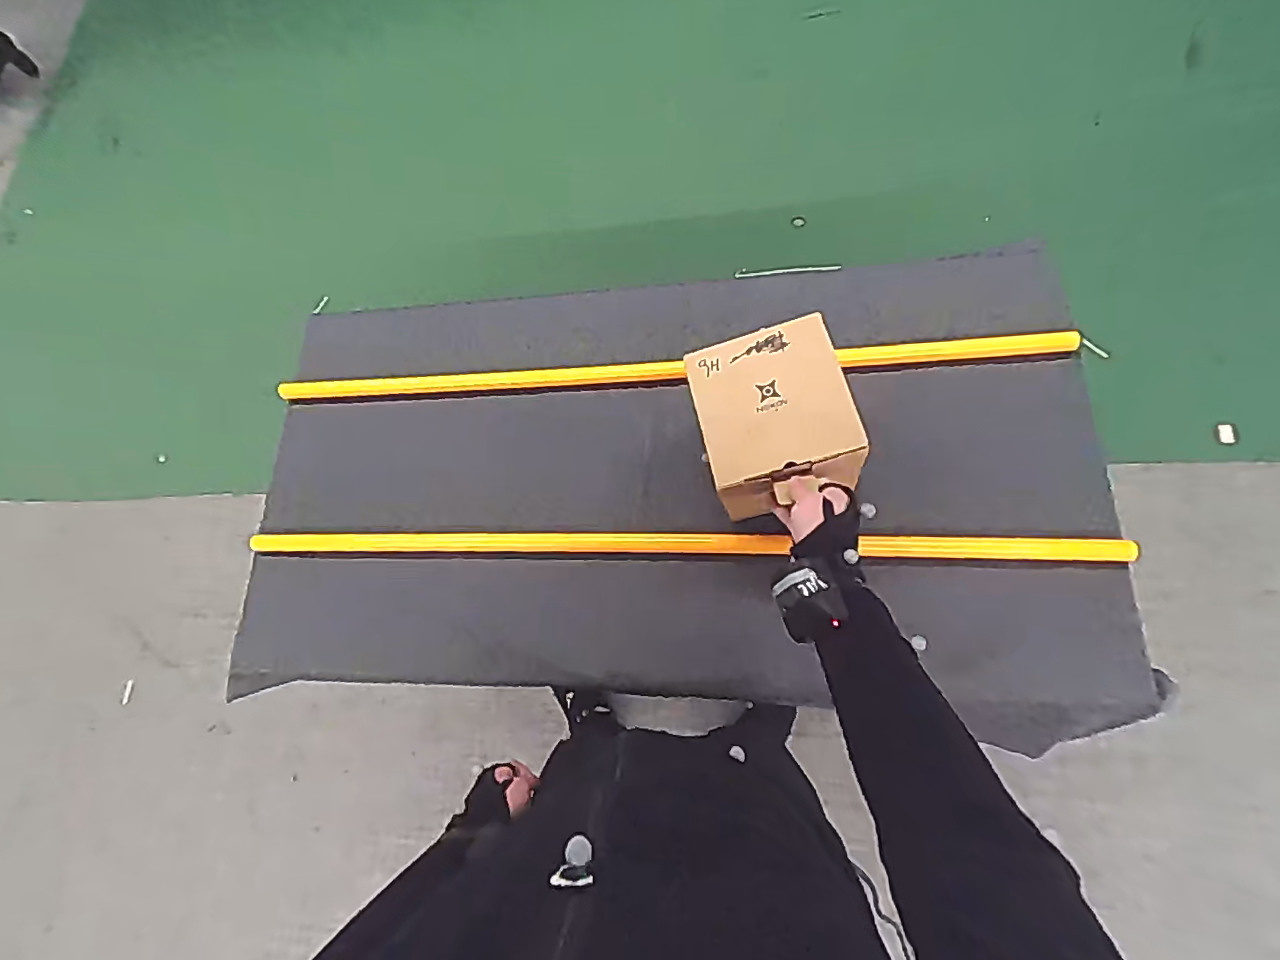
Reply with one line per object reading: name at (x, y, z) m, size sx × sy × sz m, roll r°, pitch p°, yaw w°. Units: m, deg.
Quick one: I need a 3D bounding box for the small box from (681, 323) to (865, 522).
small box at (0.169, -0.057, 0.682) m, size 0.168 × 0.176 × 0.179 m, roll -20°, pitch 68°, yaw 12°
